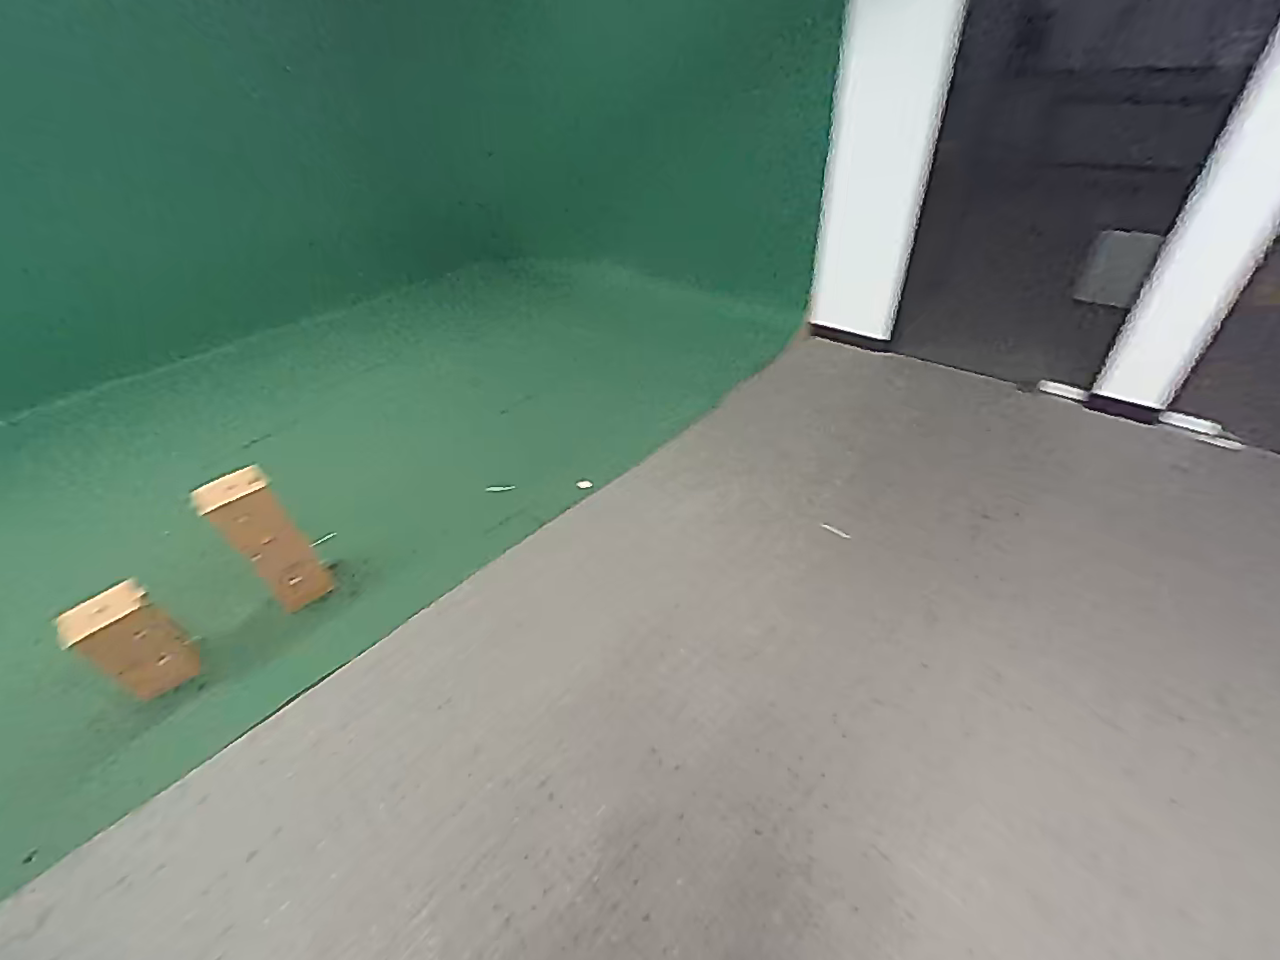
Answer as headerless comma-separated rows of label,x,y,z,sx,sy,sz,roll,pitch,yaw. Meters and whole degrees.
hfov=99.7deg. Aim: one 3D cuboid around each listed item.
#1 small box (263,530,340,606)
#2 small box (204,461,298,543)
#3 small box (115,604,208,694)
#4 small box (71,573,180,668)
small box,-1.221,0.319,1.965,0.179,0.176,0.168,-32,47,-28
small box,-1.254,0.072,1.751,0.179,0.176,0.168,-33,47,-29
small box,-1.524,0.540,1.730,0.179,0.176,0.168,-31,46,-27
small box,-1.529,0.421,1.619,0.168,0.176,0.179,27,50,34
